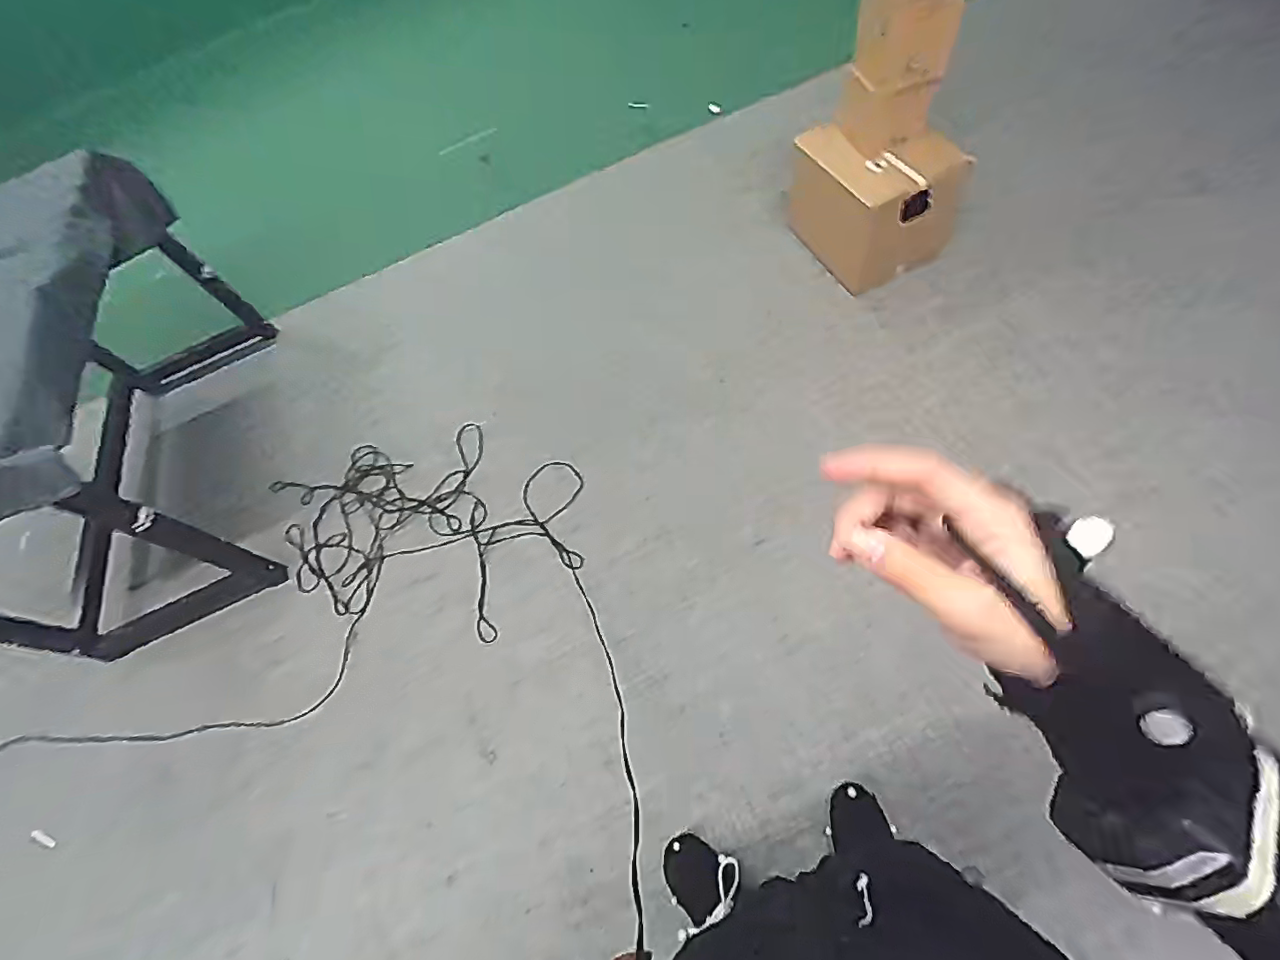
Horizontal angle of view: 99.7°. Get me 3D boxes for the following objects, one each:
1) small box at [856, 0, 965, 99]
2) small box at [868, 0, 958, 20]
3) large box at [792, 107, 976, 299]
[{"bbox_3d":[0.653,-1.086,1.332,0.168,0.176,0.179,-15,61,4],"label":"small box"},{"bbox_3d":[0.615,-1.160,1.193,0.168,0.176,0.179,-14,60,4],"label":"small box"},{"bbox_3d":[0.710,-0.845,1.660,0.320,0.320,0.408,-26,60,0],"label":"large box"}]
